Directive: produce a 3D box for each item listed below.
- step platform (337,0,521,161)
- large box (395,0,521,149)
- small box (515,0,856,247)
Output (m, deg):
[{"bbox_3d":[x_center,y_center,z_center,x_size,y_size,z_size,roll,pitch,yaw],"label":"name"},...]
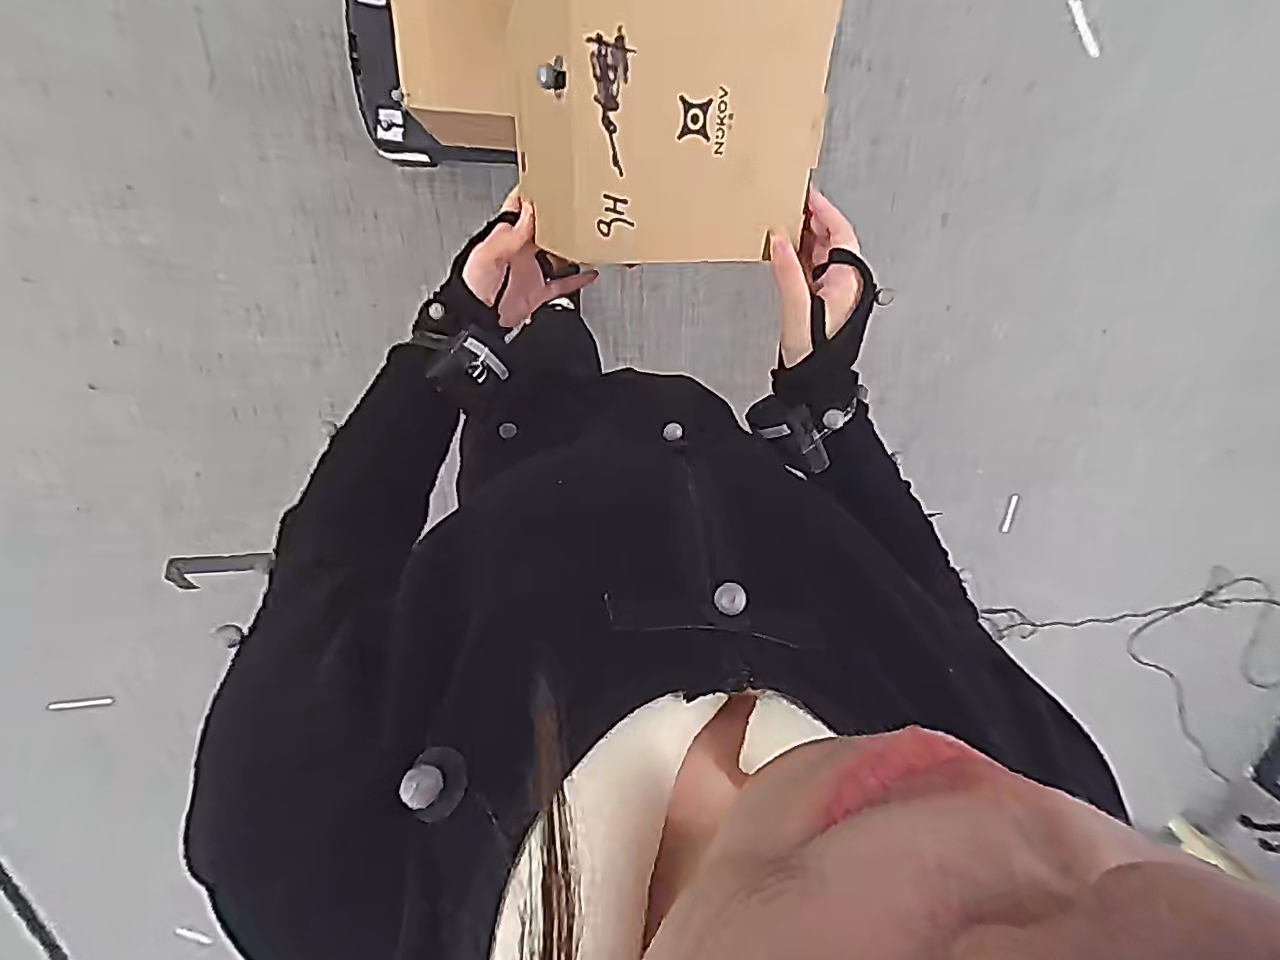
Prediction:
[{"bbox_3d":[-0.208,-0.779,1.068,0.684,0.204,0.286,3,112,-11],"label":"step platform"},{"bbox_3d":[-0.139,-0.713,0.846,0.408,0.320,0.320,-2,112,-9],"label":"large box"},{"bbox_3d":[0.018,-0.267,0.389,0.179,0.176,0.168,-9,120,-21],"label":"small box"}]
